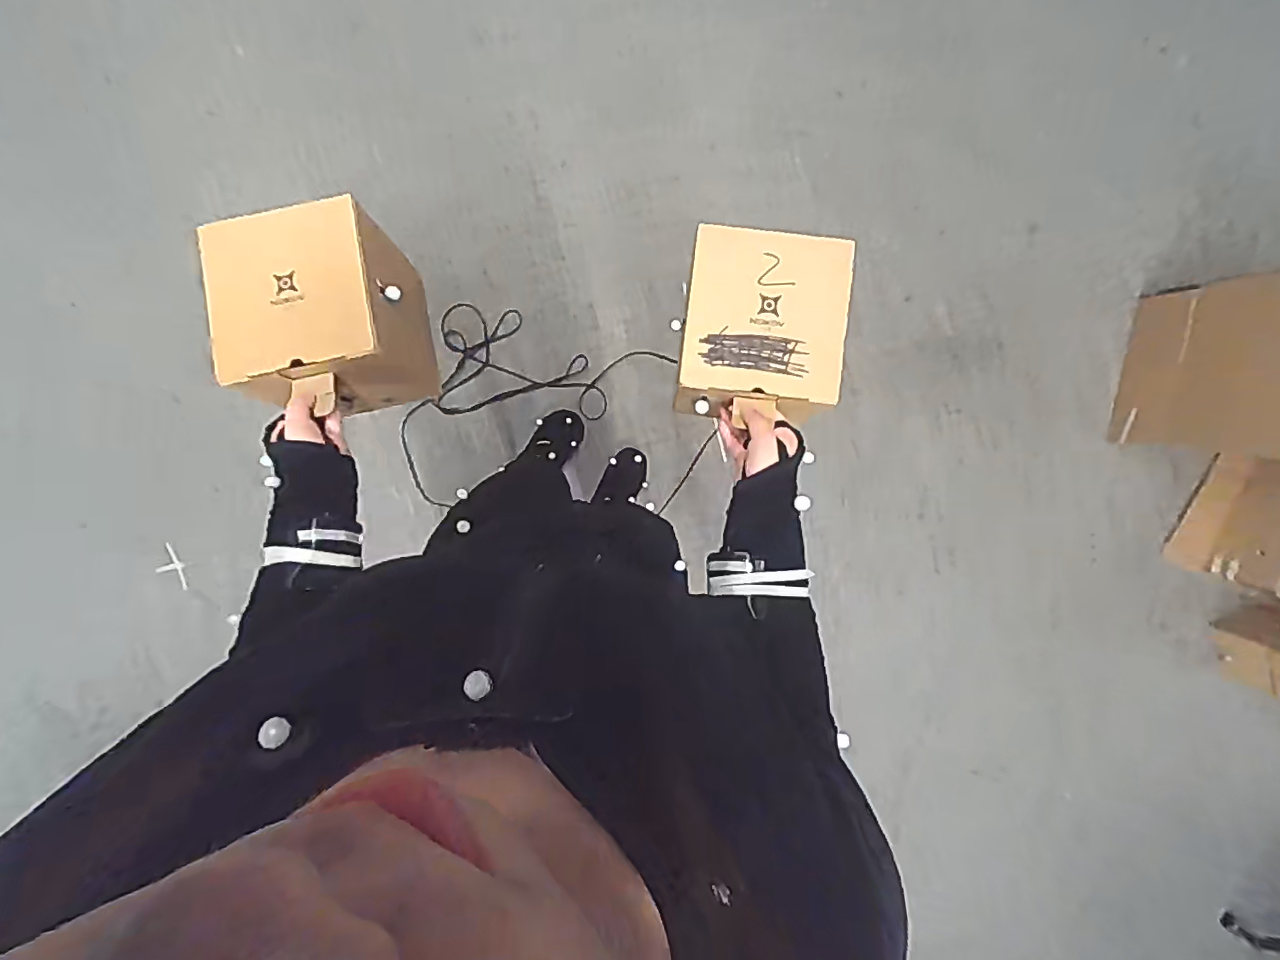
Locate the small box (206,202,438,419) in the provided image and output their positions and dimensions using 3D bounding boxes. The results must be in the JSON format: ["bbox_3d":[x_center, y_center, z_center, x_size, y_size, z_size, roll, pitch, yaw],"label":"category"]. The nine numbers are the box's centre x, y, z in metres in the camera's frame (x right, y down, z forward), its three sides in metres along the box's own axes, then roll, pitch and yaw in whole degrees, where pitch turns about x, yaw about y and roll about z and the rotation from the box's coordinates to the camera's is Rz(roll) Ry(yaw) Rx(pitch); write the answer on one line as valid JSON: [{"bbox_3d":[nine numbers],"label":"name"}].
[{"bbox_3d":[-0.359,-0.186,0.639,0.168,0.176,0.179,-12,84,1],"label":"small box"}]
